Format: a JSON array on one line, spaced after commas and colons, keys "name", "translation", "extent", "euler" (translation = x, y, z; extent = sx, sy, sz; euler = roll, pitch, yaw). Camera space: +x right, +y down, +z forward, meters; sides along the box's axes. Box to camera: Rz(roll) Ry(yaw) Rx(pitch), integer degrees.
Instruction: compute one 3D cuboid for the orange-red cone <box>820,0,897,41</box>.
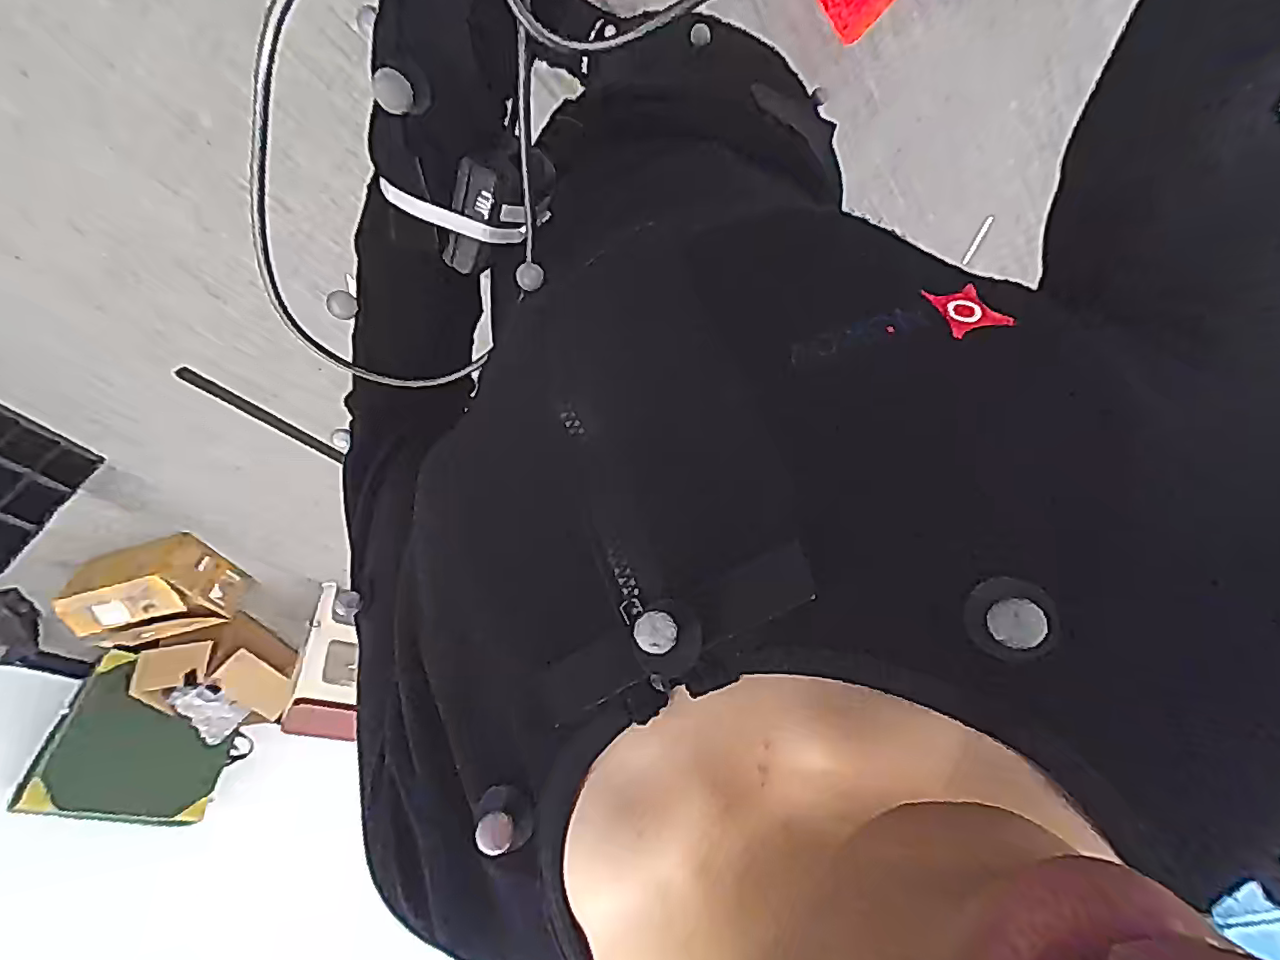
[{"name": "orange-red cone", "translation": [0.418, -0.822, 0.845], "extent": [0.198, 0.360, 0.199], "euler": [33, 125, -32]}]
